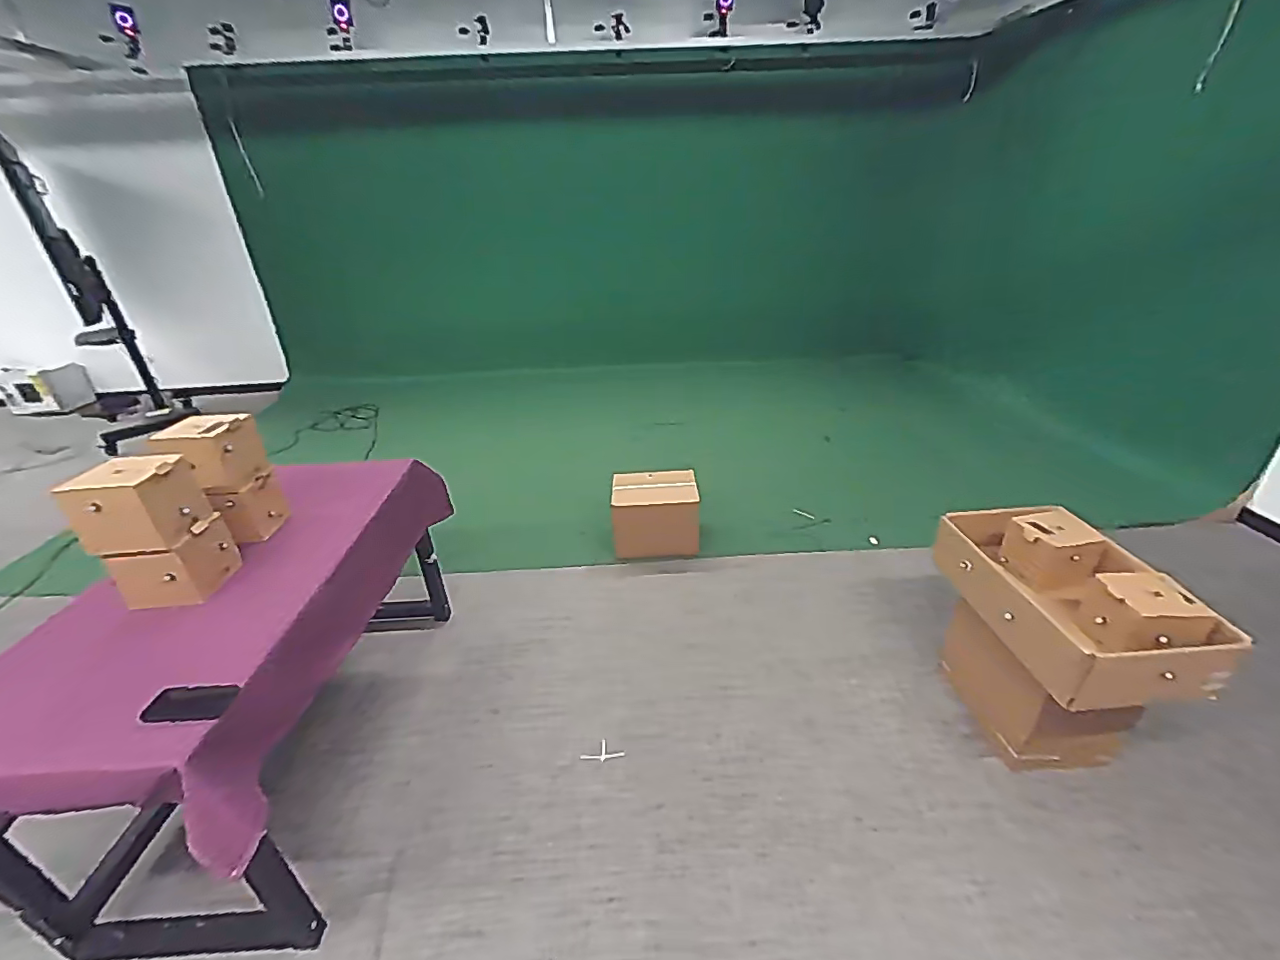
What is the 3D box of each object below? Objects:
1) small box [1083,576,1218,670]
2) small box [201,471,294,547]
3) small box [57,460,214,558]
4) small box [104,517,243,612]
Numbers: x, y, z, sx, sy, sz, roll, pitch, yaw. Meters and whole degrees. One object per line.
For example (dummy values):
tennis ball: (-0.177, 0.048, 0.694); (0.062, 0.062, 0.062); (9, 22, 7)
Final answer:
small box: (1.268, 0.360, 1.365); (0.179, 0.176, 0.168); (-1, 28, 5)
small box: (-1.161, 0.087, 1.578); (0.179, 0.176, 0.168); (-3, 27, -1)
small box: (-1.158, 0.068, 1.258); (0.179, 0.176, 0.168); (-4, 27, -2)
small box: (-1.141, 0.209, 1.343); (0.179, 0.176, 0.168); (-4, 27, -1)
